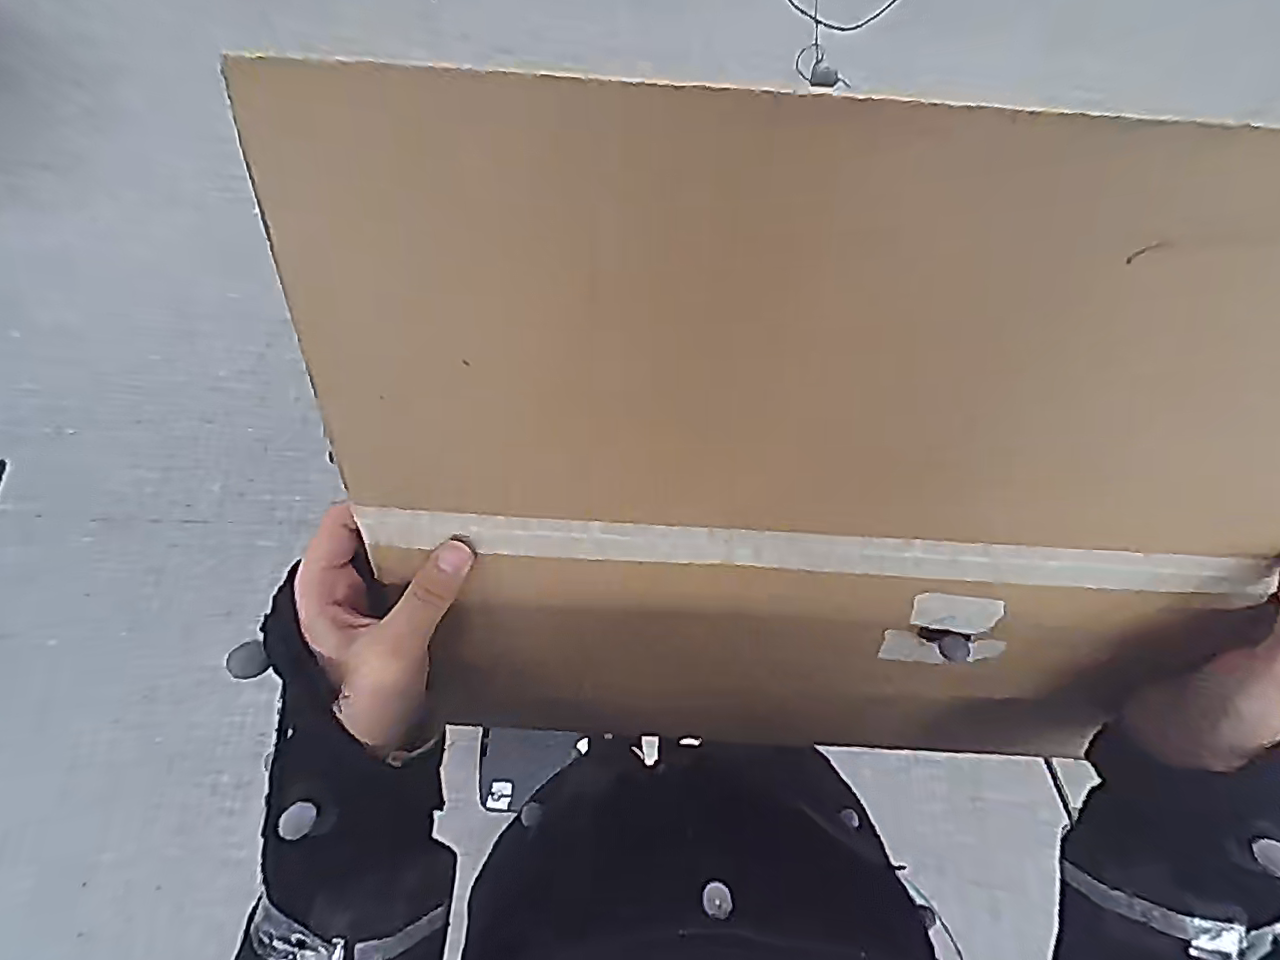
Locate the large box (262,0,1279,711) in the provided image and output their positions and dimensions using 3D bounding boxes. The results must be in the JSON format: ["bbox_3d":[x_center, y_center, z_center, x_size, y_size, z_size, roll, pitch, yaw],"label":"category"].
[{"bbox_3d":[0.090,-0.081,0.350,0.408,0.320,0.320,2,35,-1],"label":"large box"}]
